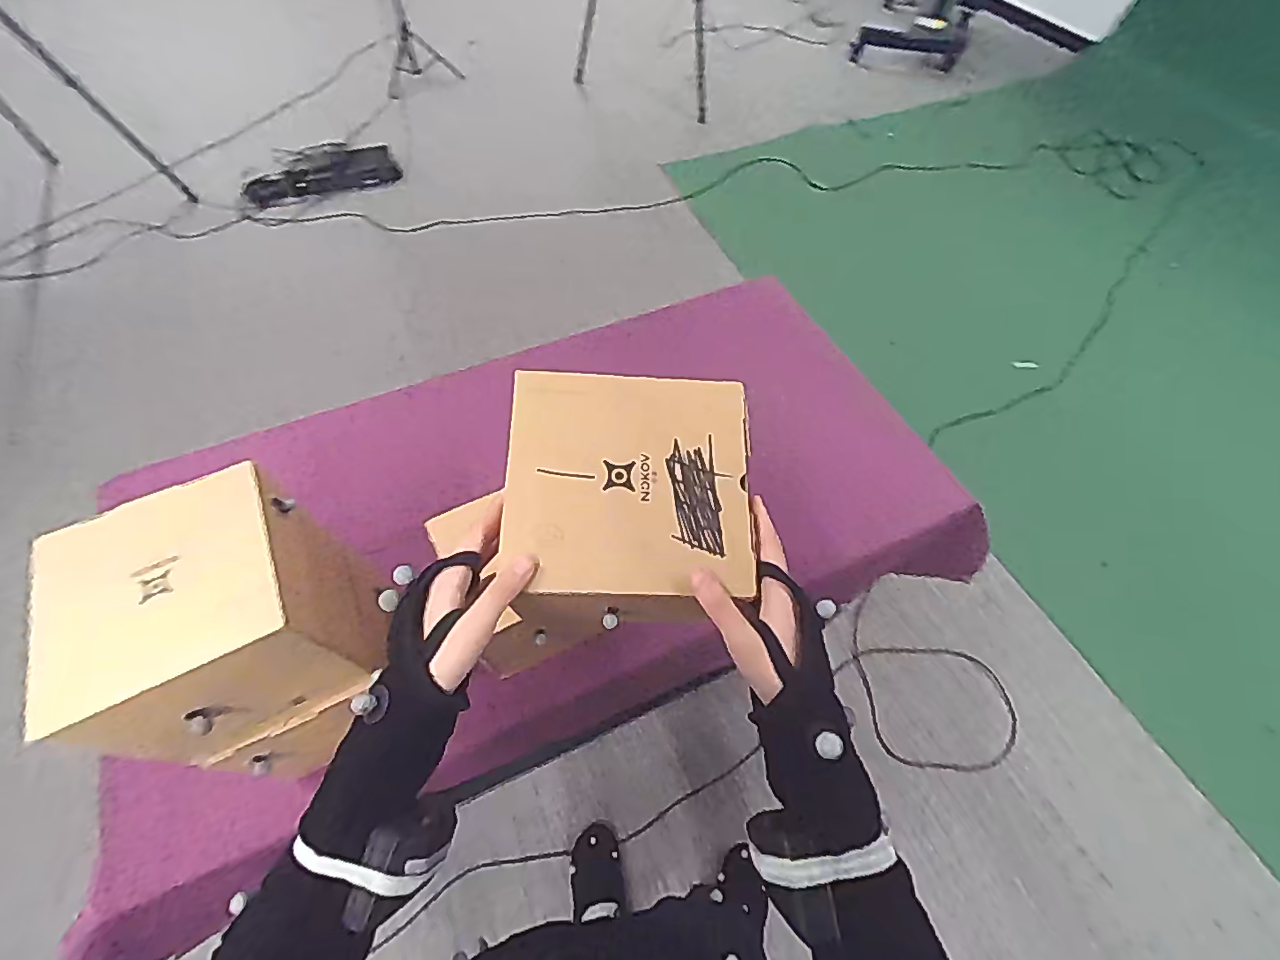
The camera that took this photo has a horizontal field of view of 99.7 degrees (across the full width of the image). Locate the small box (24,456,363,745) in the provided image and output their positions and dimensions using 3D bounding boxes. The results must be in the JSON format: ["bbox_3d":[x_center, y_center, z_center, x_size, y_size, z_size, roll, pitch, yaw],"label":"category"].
[{"bbox_3d":[-0.379,0.117,0.489,0.168,0.176,0.179,-25,60,-15],"label":"small box"}]

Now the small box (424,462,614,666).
[{"bbox_3d":[-0.142,0.112,0.684,0.179,0.176,0.168,-23,62,-14],"label":"small box"}]
